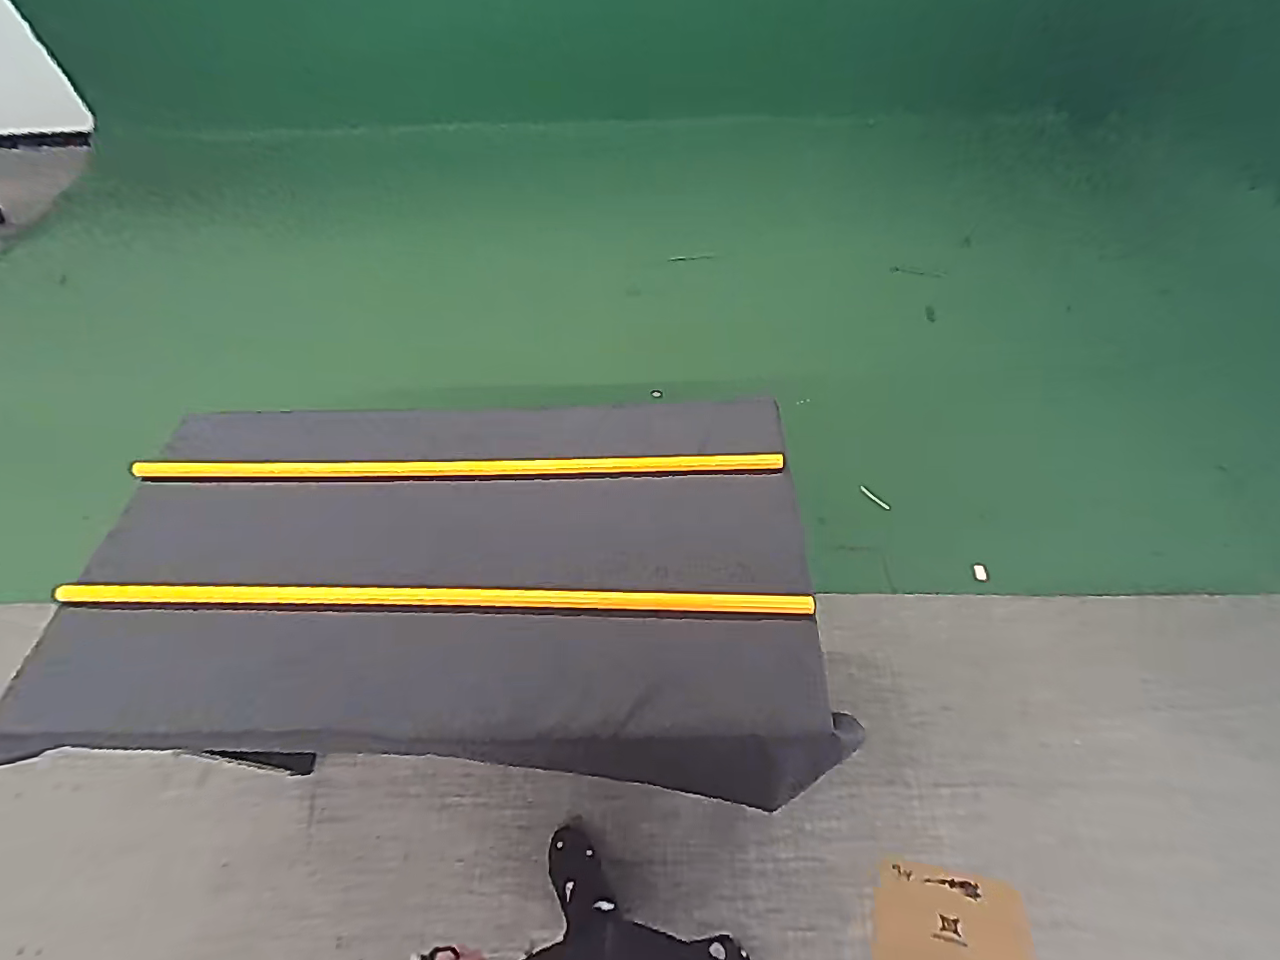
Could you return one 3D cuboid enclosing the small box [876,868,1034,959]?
[{"bbox_3d":[0.387,0.634,0.656,0.168,0.176,0.179,-5,12,28],"label":"small box"}]
